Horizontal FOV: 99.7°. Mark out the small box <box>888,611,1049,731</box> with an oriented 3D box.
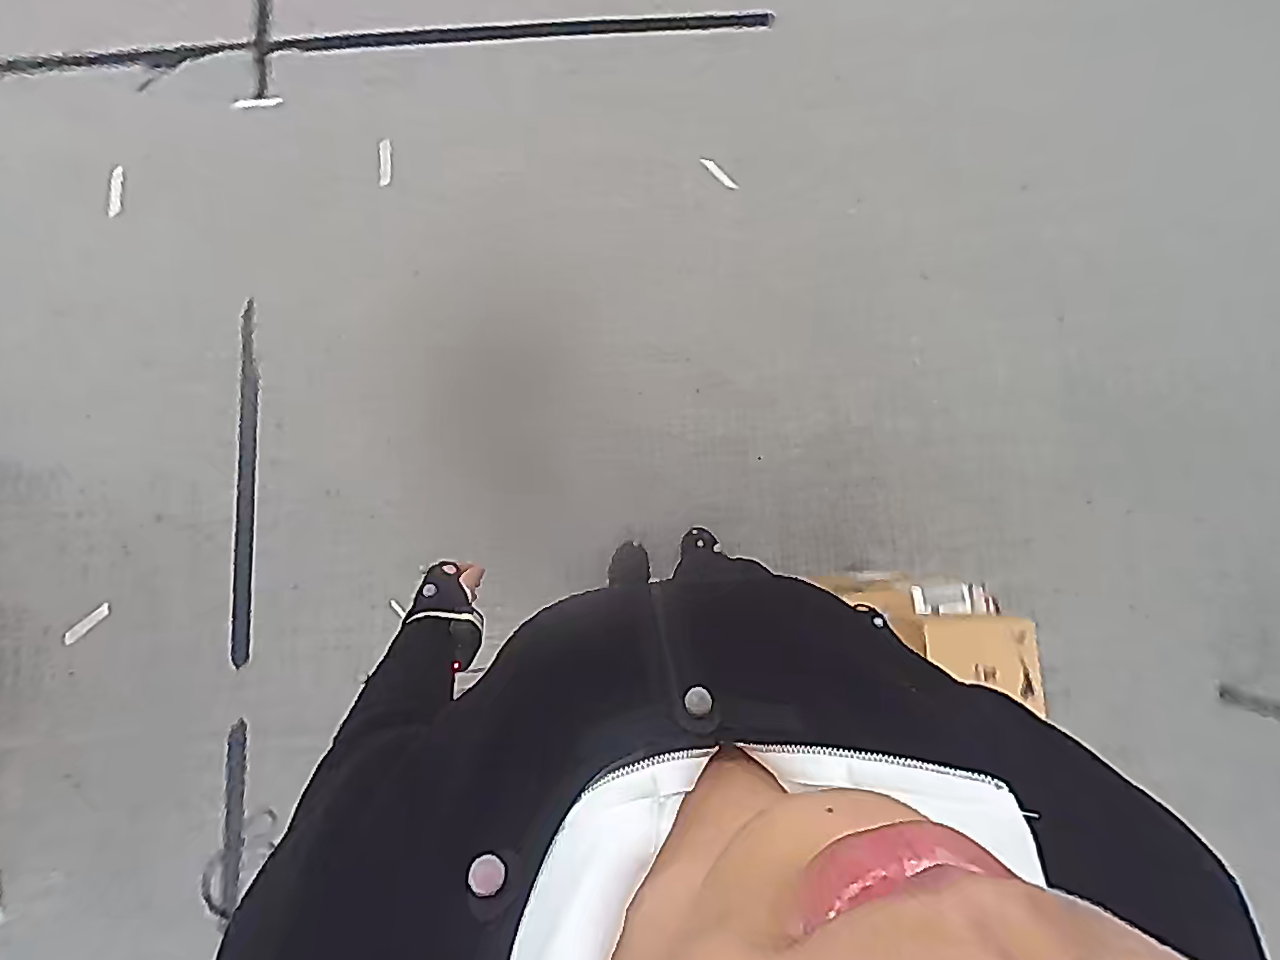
[{"bbox_3d":[0.536,0.314,0.913,0.179,0.176,0.168,-1,81,2],"label":"small box"}]
